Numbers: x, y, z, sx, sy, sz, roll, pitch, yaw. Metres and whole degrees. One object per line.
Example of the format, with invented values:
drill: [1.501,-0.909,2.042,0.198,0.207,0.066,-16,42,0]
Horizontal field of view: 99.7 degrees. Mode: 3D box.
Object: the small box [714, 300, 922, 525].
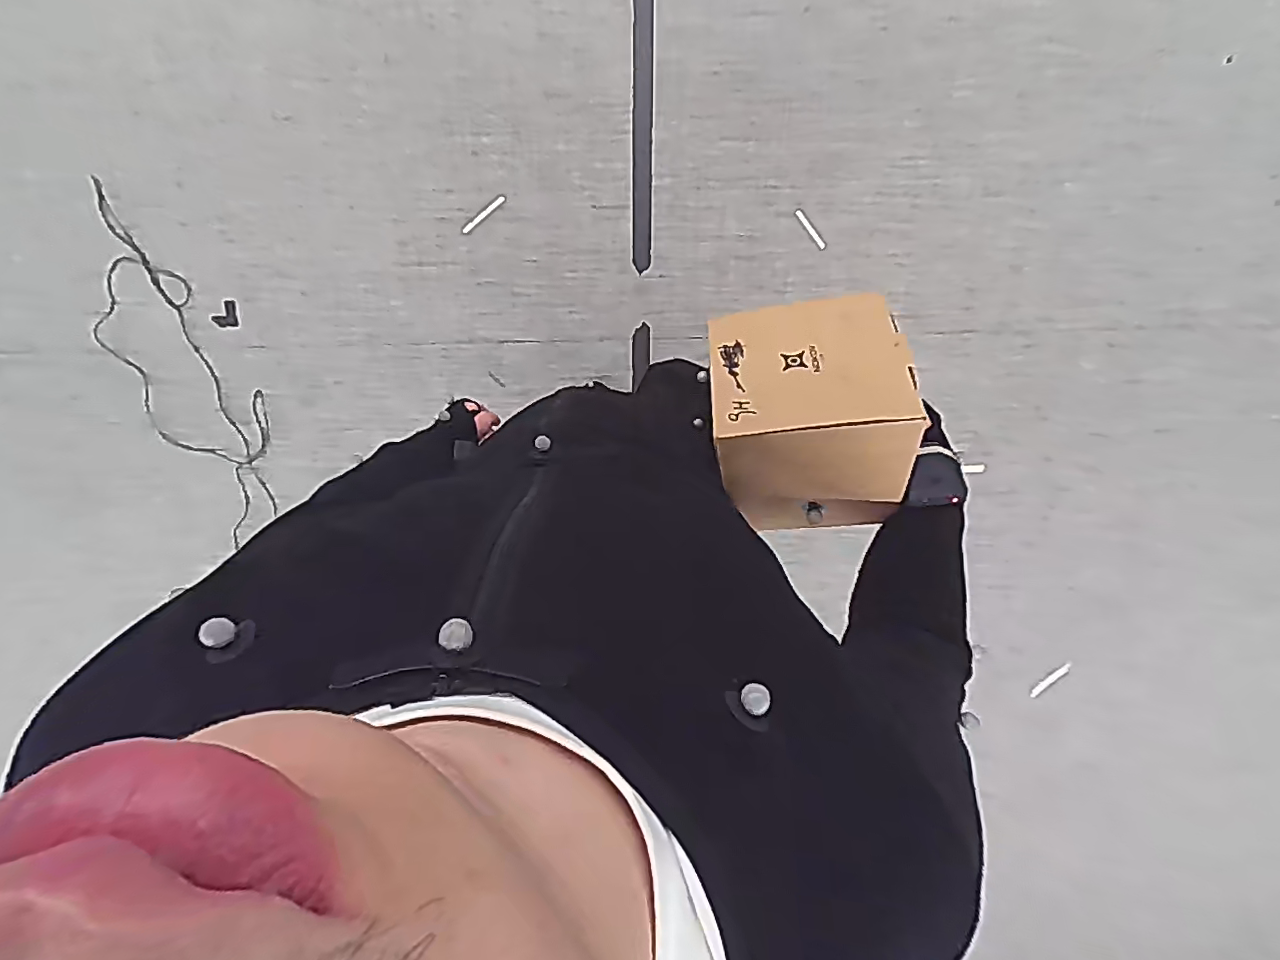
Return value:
small box: [0.175,-0.065,0.583,0.179,0.168,0.176,-5,143,11]
